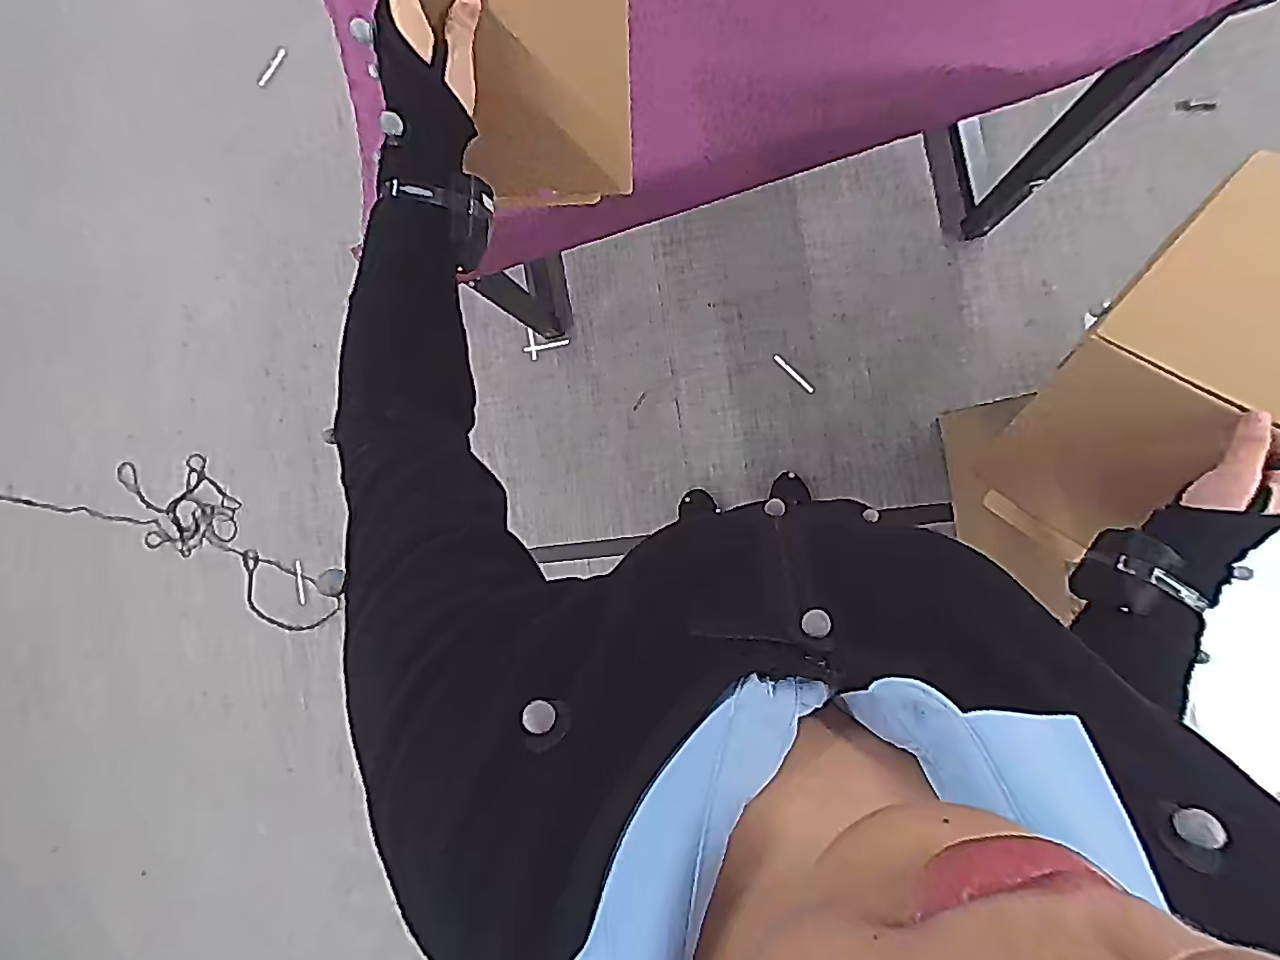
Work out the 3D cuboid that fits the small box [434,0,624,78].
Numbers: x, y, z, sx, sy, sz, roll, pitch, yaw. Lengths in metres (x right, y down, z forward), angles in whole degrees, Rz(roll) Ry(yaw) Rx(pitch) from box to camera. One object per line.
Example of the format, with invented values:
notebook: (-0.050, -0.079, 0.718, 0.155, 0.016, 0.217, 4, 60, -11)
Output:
small box: (-0.098, -0.492, 0.474, 0.168, 0.176, 0.179, -2, 93, -2)
